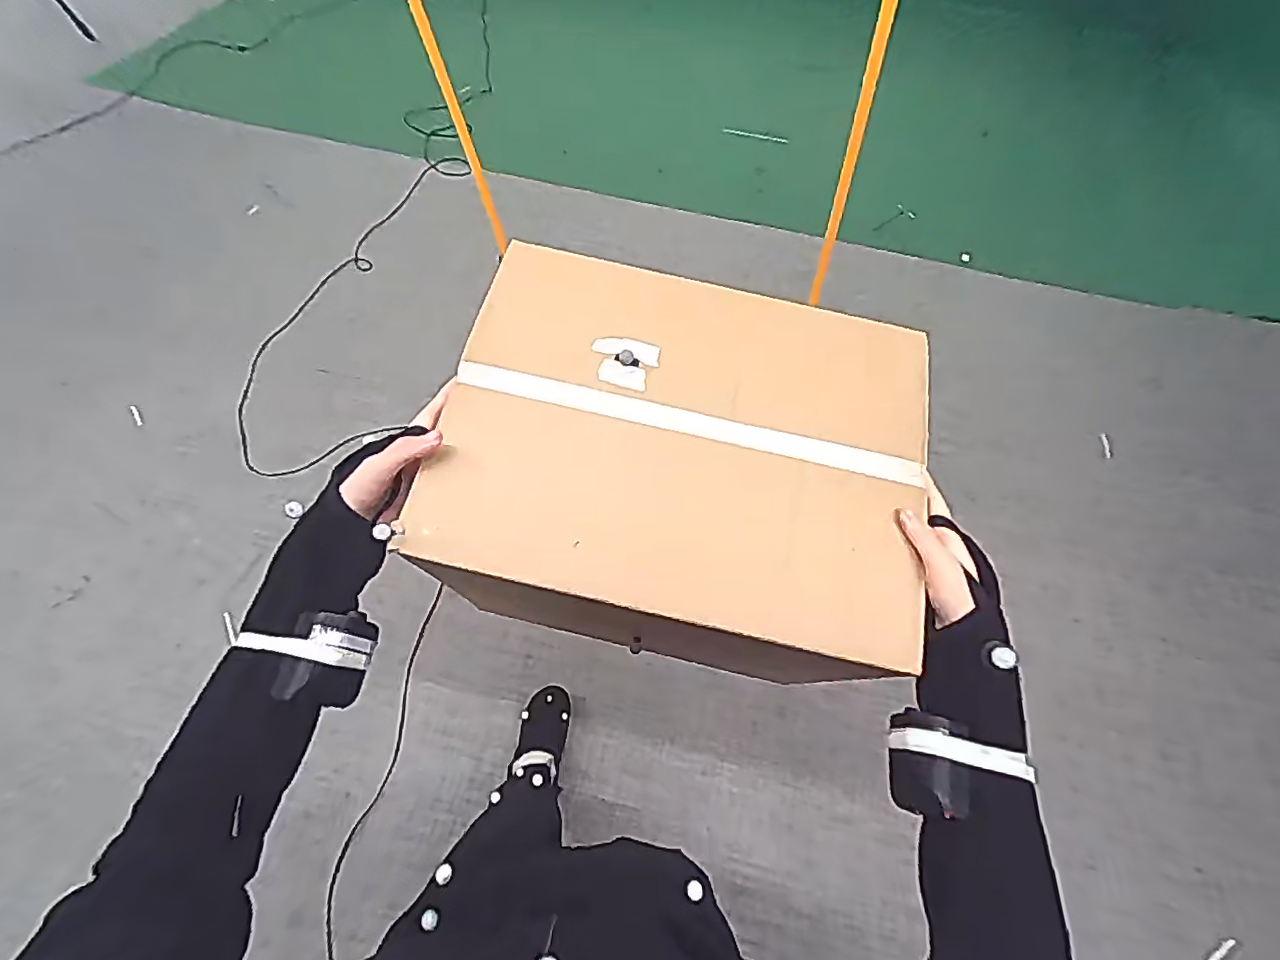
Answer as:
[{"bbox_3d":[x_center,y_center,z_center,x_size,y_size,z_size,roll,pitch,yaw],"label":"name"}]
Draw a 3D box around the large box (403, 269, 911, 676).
[{"bbox_3d":[0.031,0.022,0.610,0.408,0.320,0.320,13,67,2],"label":"large box"}]
